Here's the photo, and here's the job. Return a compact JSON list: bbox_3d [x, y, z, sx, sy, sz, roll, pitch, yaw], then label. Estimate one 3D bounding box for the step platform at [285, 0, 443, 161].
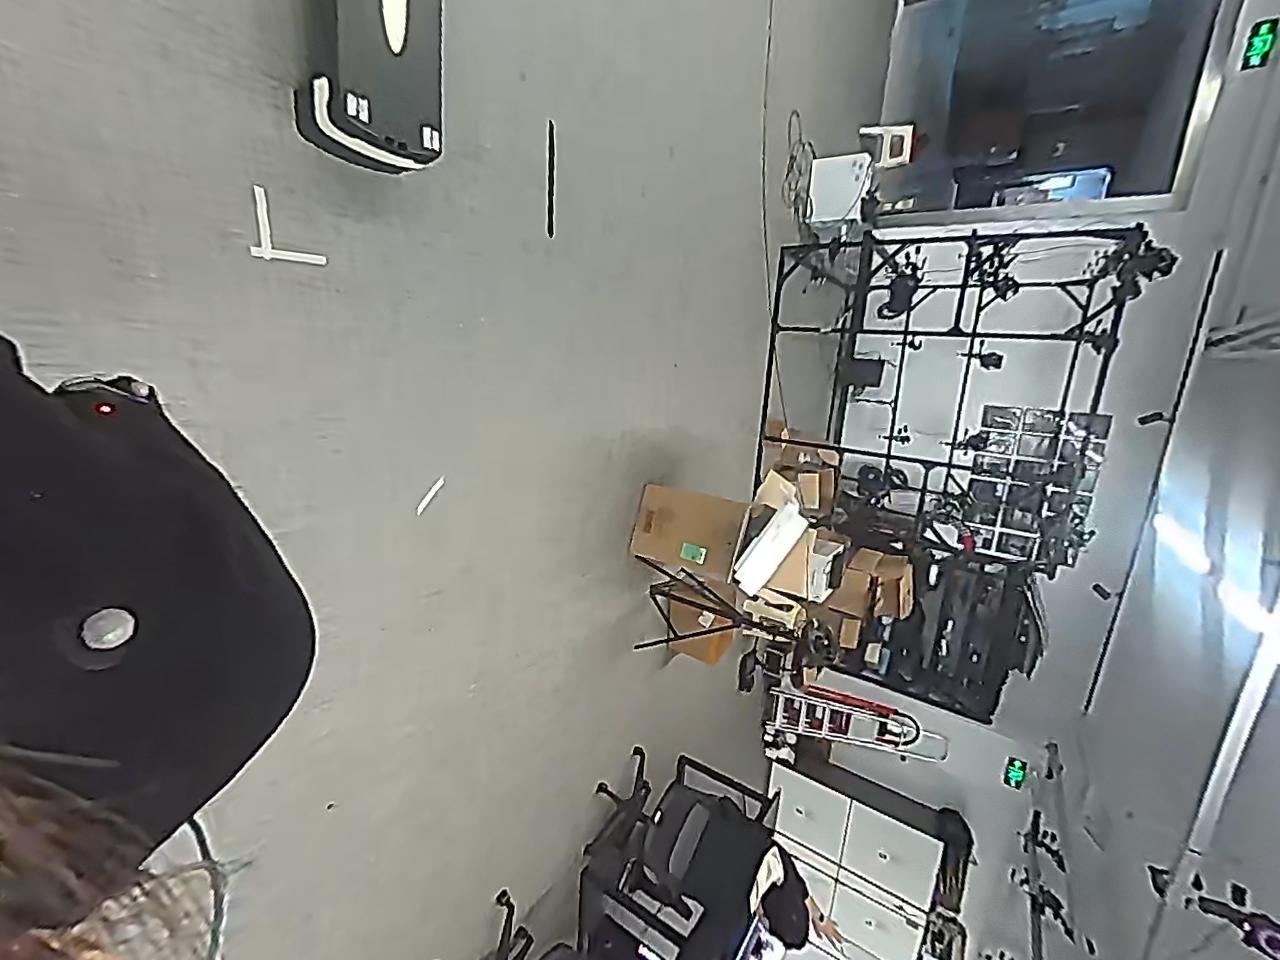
[{"bbox_3d":[-0.647,-1.177,1.302,0.286,0.204,0.684,-5,103,-57],"label":"step platform"}]
